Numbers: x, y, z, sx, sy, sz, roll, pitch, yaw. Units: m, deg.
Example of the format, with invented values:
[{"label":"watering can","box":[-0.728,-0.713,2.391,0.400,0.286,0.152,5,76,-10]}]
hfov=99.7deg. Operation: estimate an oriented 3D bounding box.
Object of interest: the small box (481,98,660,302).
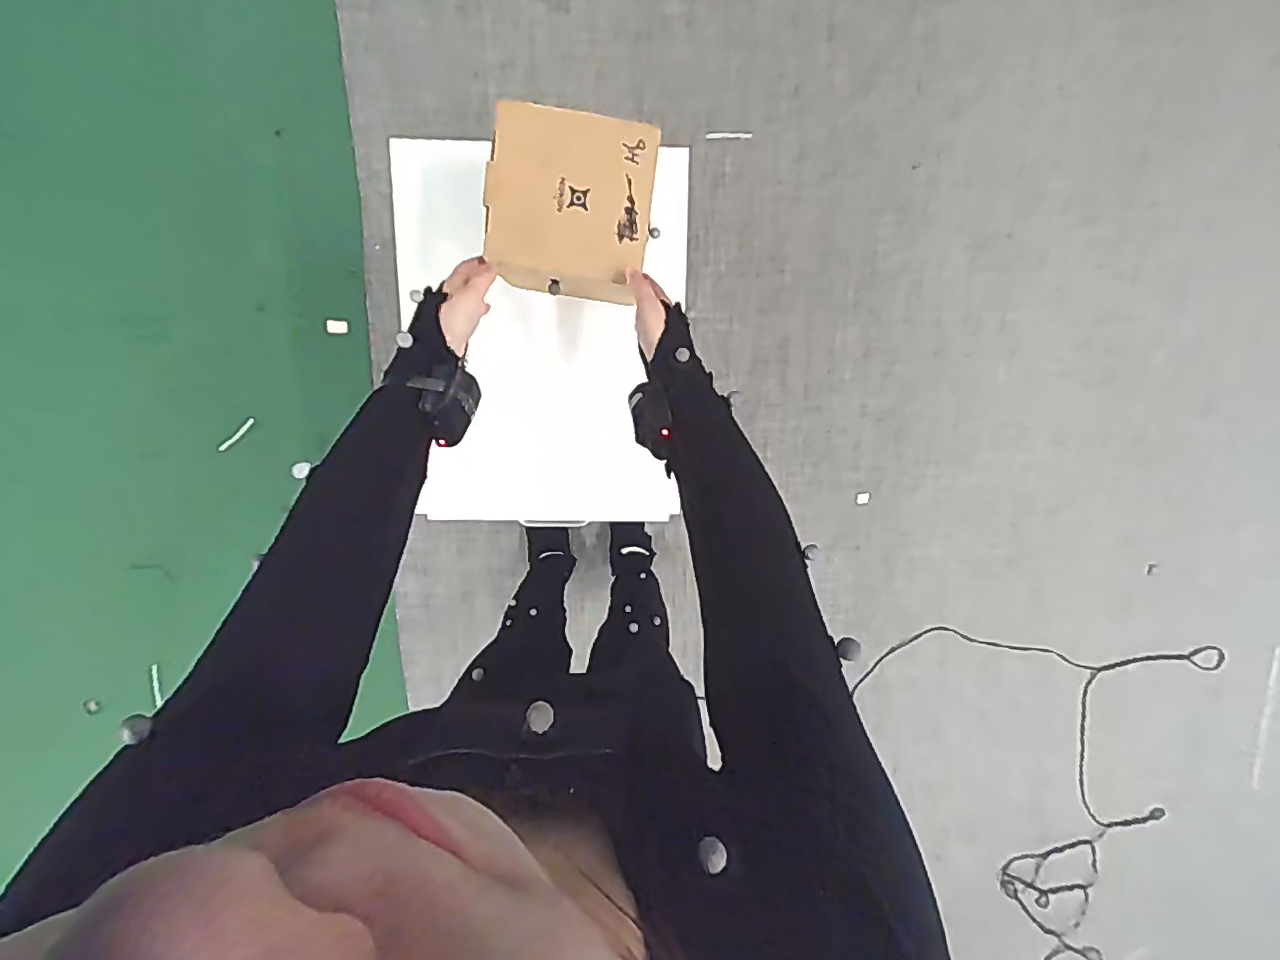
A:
[{"label":"small box","box":[-0.078,-0.320,0.657,0.179,0.176,0.168,8,100,-3]}]
